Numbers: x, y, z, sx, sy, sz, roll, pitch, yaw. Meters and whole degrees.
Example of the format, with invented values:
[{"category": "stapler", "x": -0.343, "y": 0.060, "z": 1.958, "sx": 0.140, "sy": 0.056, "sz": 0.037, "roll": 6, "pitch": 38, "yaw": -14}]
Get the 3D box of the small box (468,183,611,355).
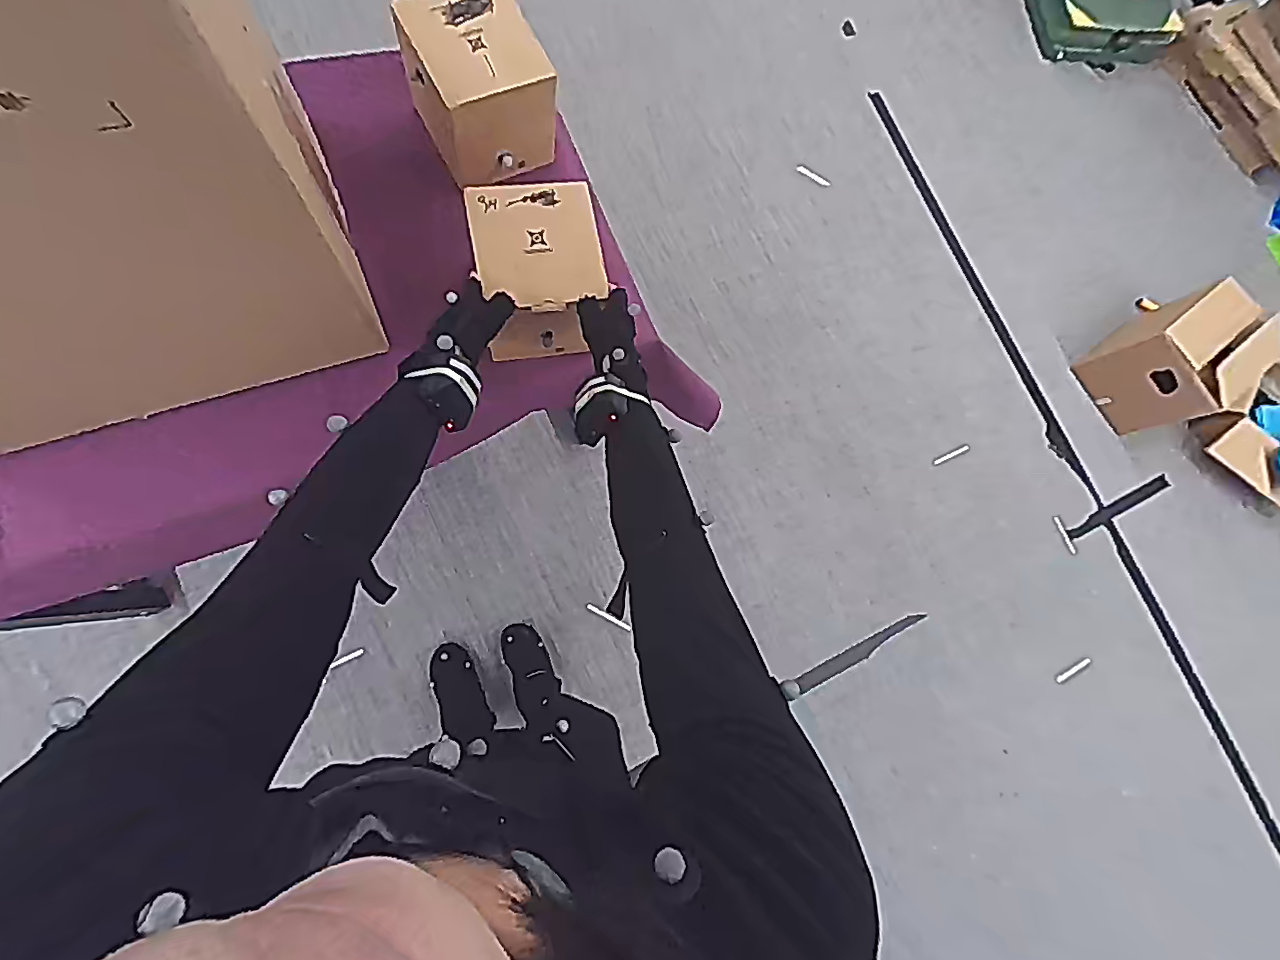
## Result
[{"category": "small box", "x": -0.143, "y": -0.291, "z": 0.778, "sx": 0.168, "sy": 0.176, "sz": 0.179, "roll": -9, "pitch": 83, "yaw": -12}]
